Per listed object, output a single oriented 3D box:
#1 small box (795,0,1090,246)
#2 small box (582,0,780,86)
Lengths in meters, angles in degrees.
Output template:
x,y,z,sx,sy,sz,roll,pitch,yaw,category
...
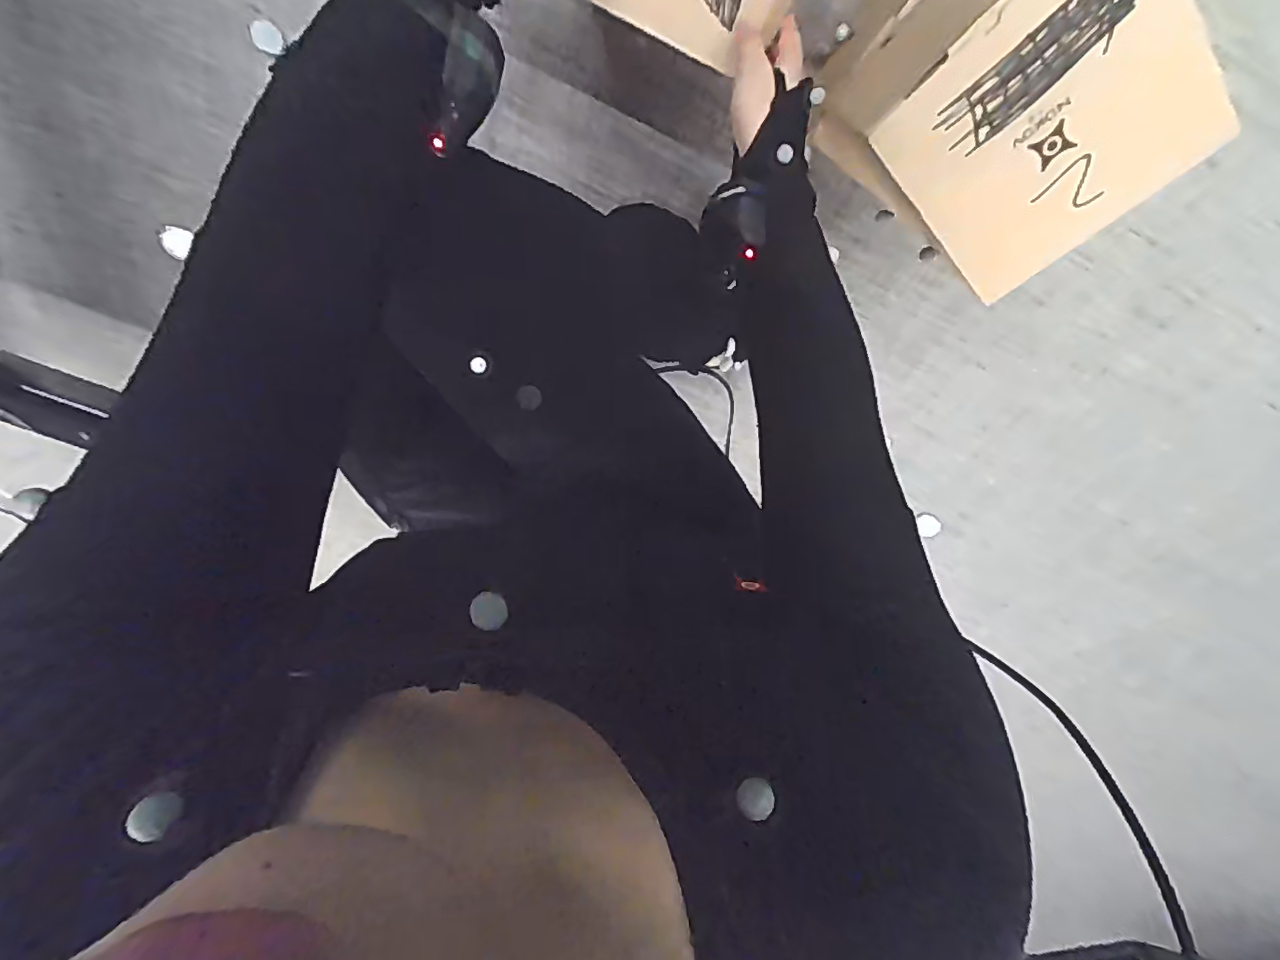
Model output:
x,y,z,sx,sy,sz,roll,pitch,yaw,category
0.282,-0.380,0.545,0.179,0.176,0.168,29,128,-18,small box
0.051,-0.491,0.480,0.179,0.176,0.168,21,130,-10,small box
